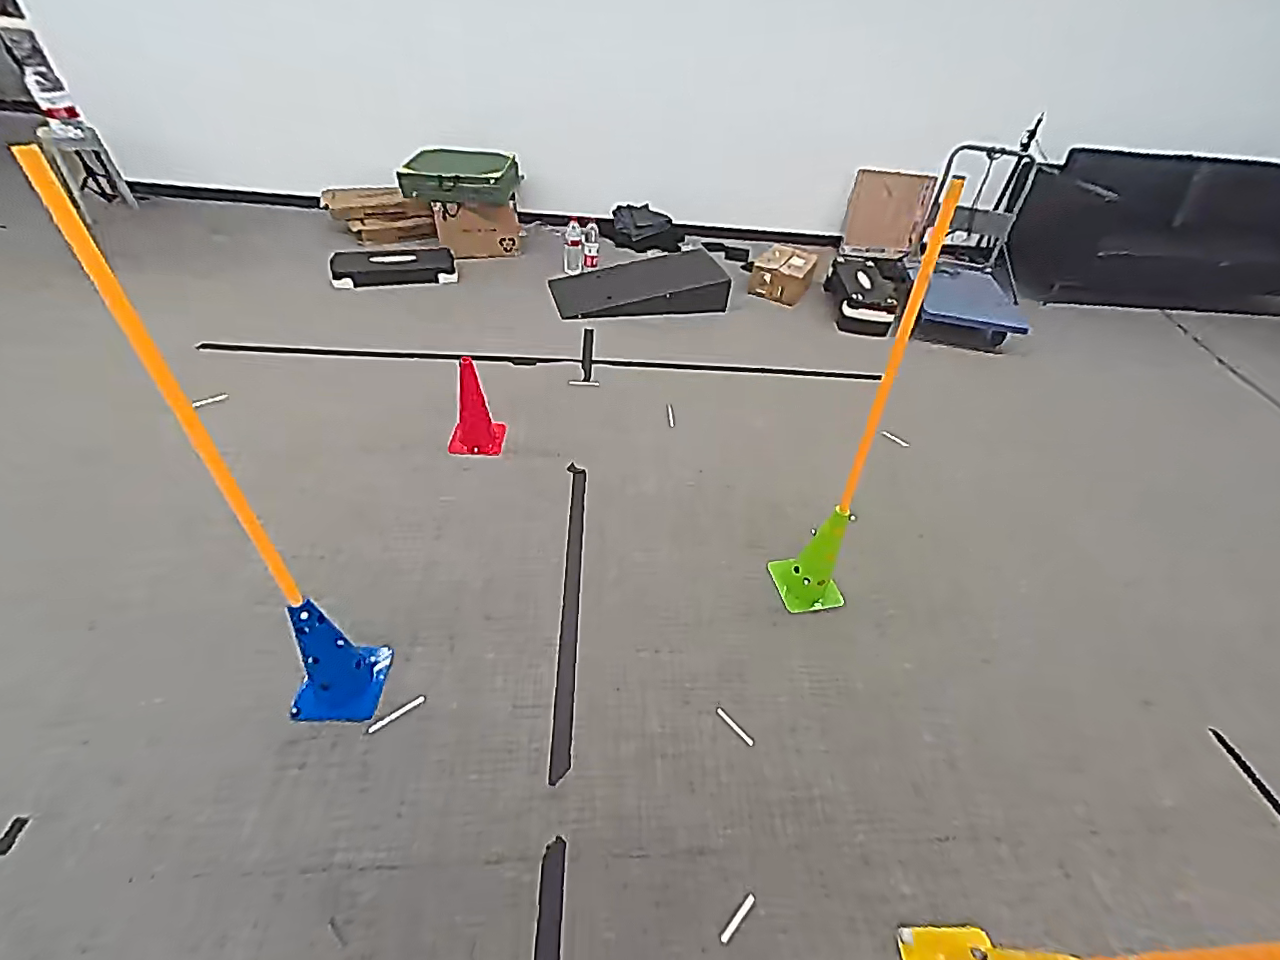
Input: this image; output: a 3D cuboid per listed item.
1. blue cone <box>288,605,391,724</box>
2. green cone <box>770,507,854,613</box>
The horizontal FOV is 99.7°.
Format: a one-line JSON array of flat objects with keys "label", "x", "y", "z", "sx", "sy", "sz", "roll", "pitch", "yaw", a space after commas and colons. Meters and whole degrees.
[{"label": "blue cone", "x": -0.743, "y": 0.408, "z": 1.278, "sx": 0.193, "sy": 0.380, "sz": 0.192, "roll": 4, "pitch": 43, "yaw": -3}, {"label": "green cone", "x": 0.559, "y": 0.214, "z": 1.642, "sx": 0.200, "sy": 0.368, "sz": 0.202, "roll": -5, "pitch": 45, "yaw": -13}]
